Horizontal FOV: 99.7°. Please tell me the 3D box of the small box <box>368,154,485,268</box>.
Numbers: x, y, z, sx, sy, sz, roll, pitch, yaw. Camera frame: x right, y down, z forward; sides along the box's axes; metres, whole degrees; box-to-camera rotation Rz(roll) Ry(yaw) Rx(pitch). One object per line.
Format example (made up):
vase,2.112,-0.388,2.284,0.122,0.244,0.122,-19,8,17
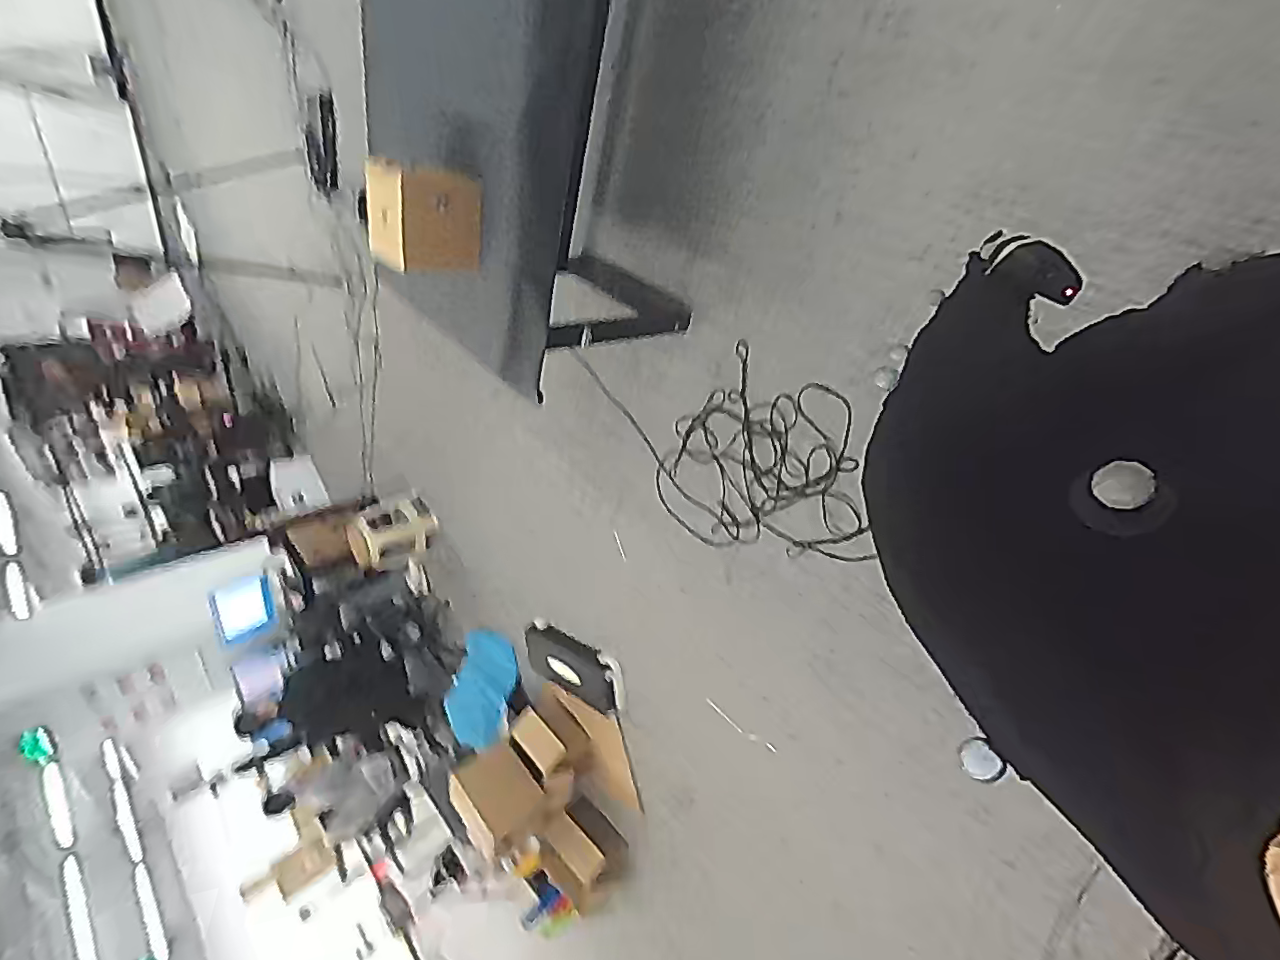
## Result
small box,-0.433,-0.547,1.110,0.168,0.176,0.179,36,129,33
